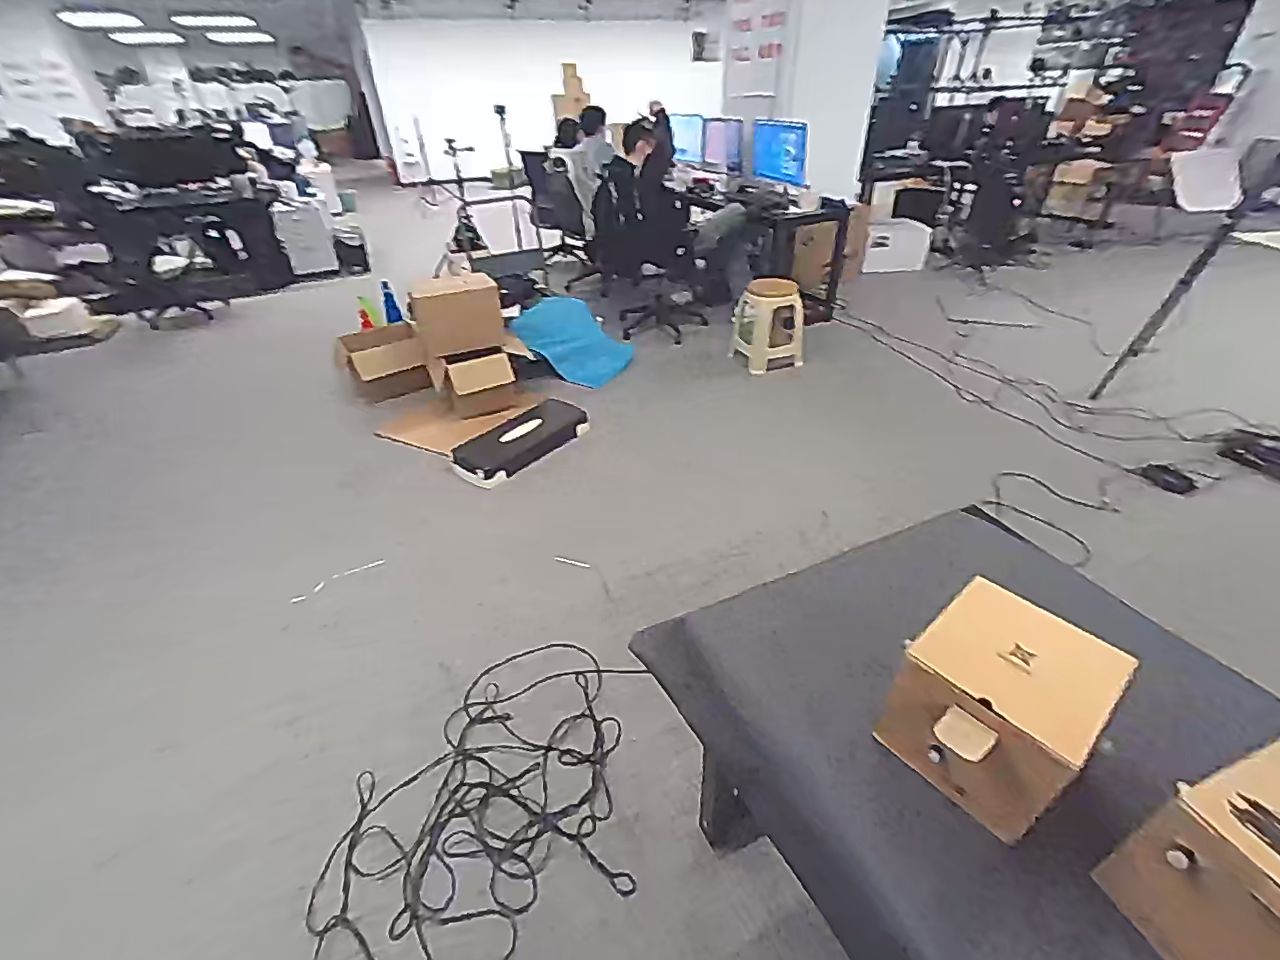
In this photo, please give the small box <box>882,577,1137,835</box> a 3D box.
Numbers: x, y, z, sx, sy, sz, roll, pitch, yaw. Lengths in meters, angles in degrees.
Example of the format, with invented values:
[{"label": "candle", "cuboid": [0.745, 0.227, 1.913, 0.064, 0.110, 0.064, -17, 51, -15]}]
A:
[{"label": "small box", "cuboid": [0.408, 0.252, 0.622, 0.179, 0.176, 0.168, -27, 43, -30]}]
